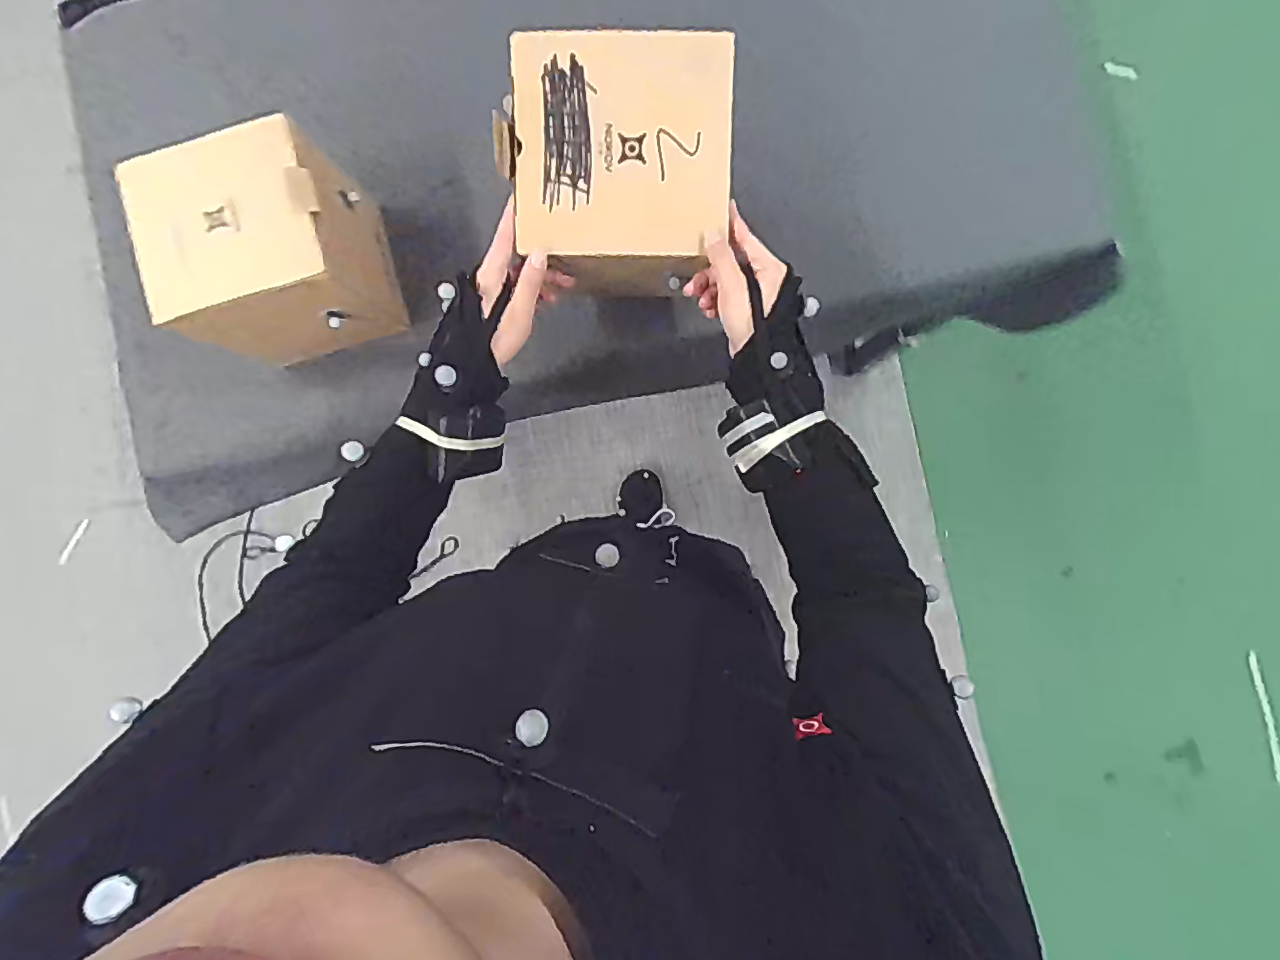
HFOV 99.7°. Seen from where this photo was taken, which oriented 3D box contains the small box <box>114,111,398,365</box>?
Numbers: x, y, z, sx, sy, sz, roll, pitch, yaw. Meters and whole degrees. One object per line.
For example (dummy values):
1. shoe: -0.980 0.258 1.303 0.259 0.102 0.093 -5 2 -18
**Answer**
1. small box: -0.389 -0.242 0.585 0.179 0.176 0.168 -17 87 3
